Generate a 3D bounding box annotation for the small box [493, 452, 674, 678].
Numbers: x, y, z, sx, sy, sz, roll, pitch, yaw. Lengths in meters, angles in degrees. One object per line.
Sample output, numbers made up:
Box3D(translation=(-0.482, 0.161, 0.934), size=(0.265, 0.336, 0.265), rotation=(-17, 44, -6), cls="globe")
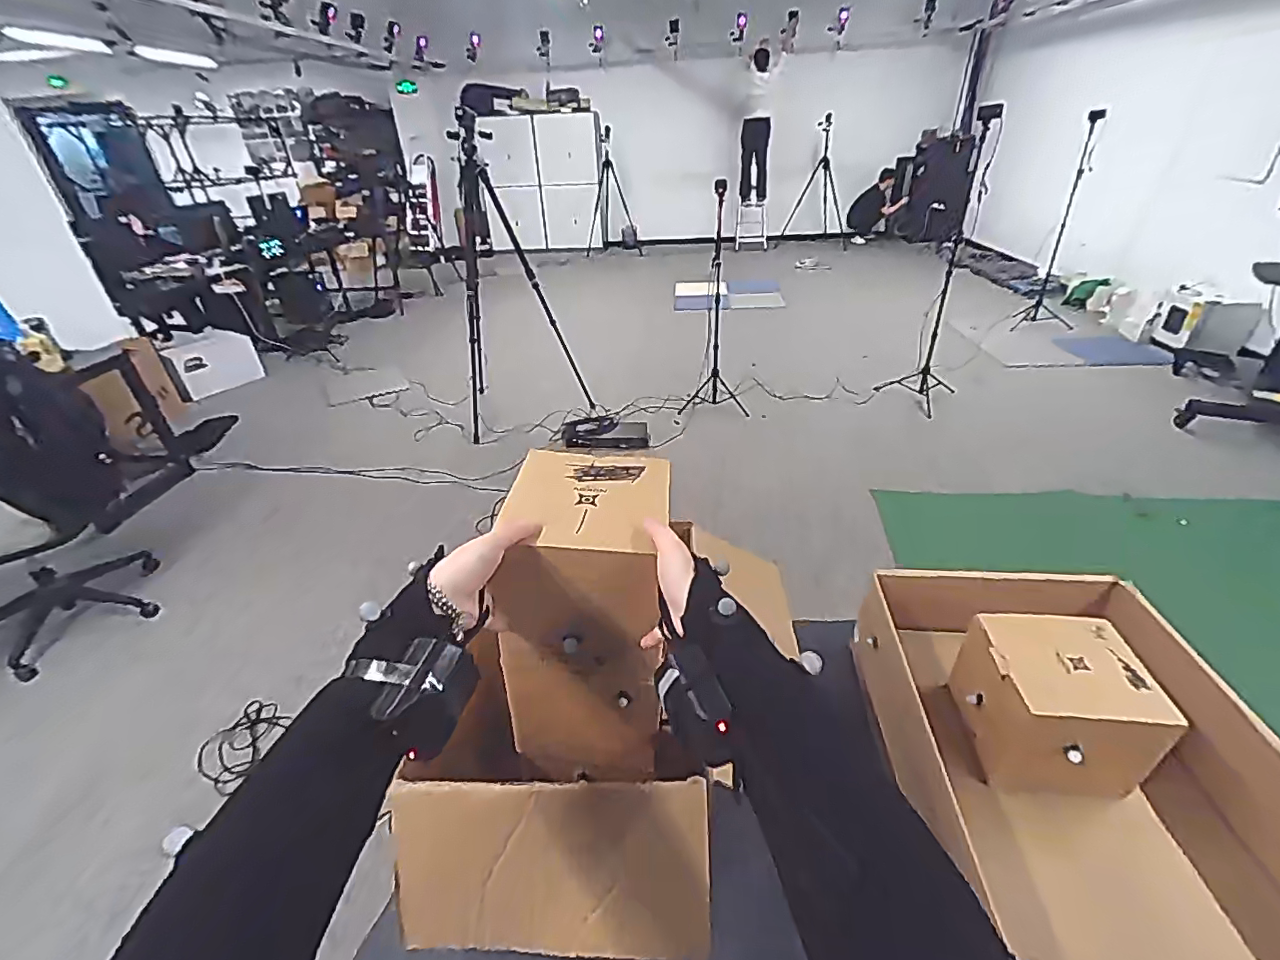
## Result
Box3D(translation=(-0.052, 0.087, 0.596), size=(0.168, 0.176, 0.179), rotation=(3, 32, 2), cls="small box")
